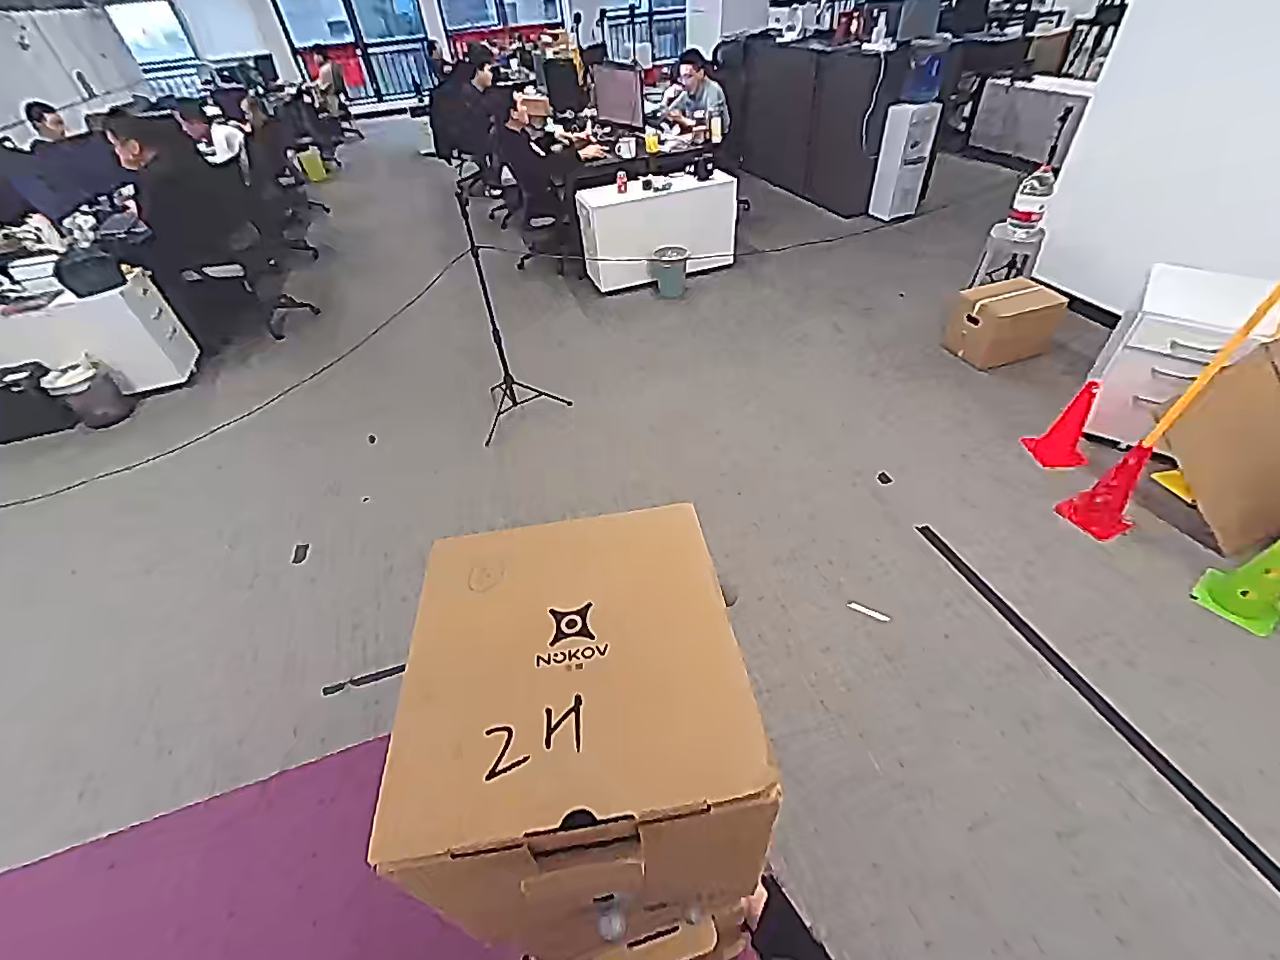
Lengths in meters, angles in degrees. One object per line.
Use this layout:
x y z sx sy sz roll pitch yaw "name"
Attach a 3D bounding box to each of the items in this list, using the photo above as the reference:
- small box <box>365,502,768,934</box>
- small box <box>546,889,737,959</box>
-0.032 0.140 0.329 0.168 0.176 0.179 -8 42 -2 "small box"
-0.008 0.376 0.555 0.168 0.176 0.179 -13 41 -8 "small box"
